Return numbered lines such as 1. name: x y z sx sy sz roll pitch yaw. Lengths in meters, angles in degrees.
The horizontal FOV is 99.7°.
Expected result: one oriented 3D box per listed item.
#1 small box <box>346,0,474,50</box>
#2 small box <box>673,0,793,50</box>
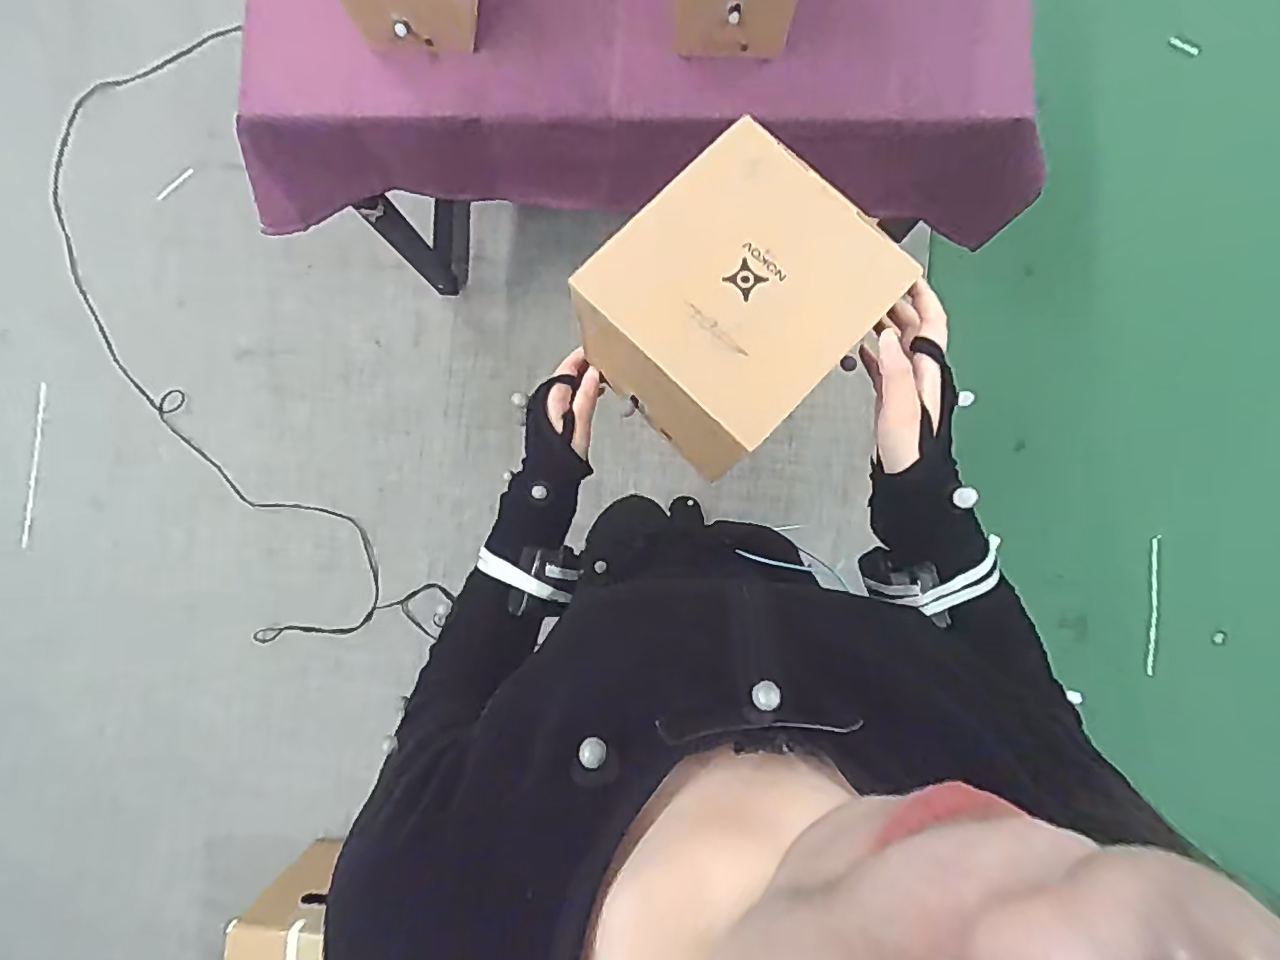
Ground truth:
1. small box: -0.333 -0.750 0.747 0.168 0.176 0.179 4 88 2
2. small box: 0.132 -0.732 0.735 0.168 0.176 0.179 3 88 1
